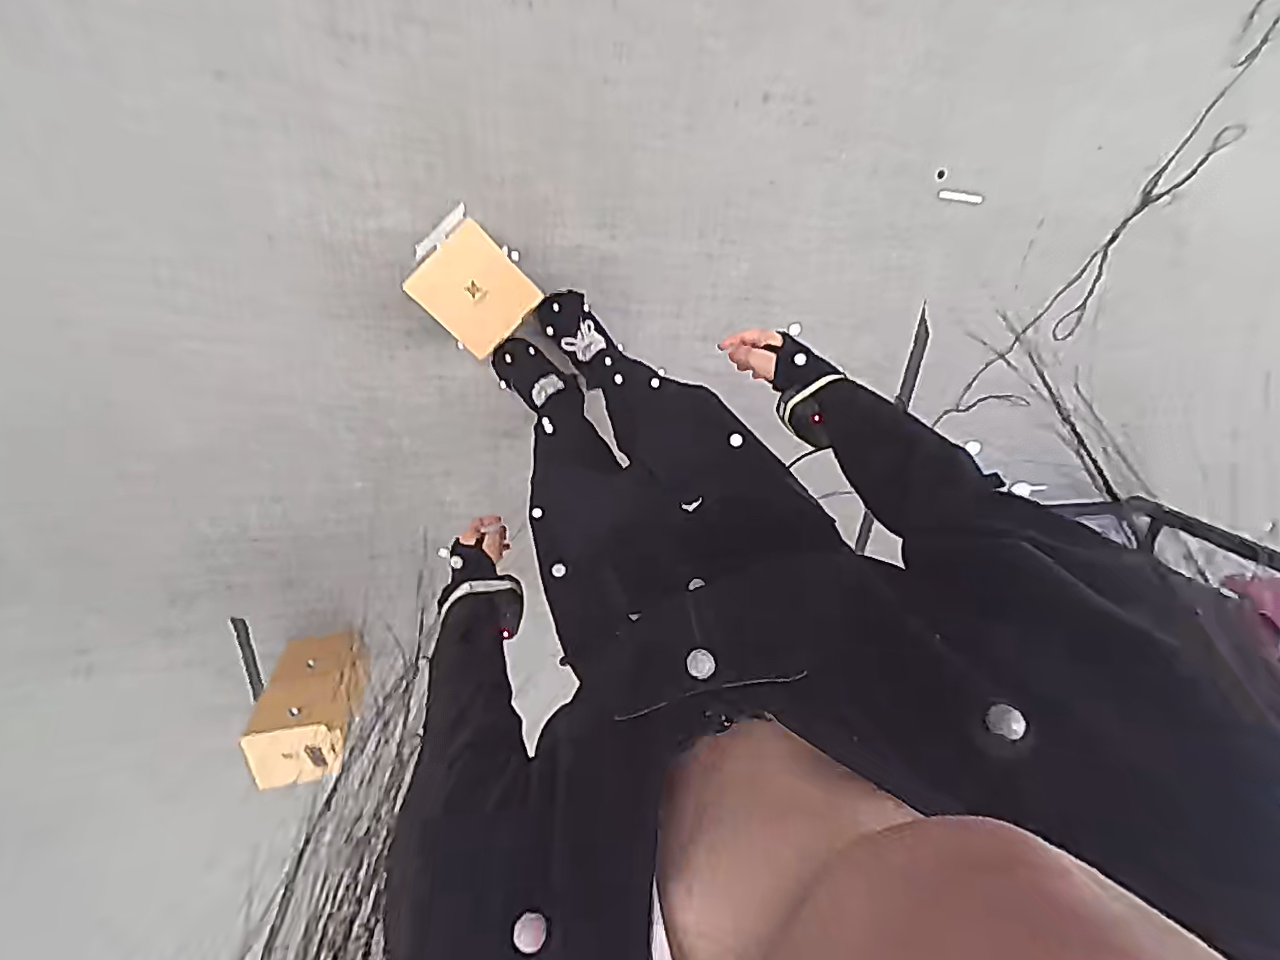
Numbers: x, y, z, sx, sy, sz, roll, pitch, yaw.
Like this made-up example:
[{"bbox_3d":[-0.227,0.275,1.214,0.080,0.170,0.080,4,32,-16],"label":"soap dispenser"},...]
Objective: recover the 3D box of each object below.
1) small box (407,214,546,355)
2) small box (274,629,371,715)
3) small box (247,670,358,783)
[{"bbox_3d":[-0.303,-0.363,1.008,0.168,0.176,0.179,-44,119,5],"label":"small box"},{"bbox_3d":[-0.833,0.520,1.443,0.179,0.176,0.168,-6,114,-12],"label":"small box"},{"bbox_3d":[-0.792,0.580,1.295,0.179,0.176,0.168,-5,114,-13],"label":"small box"}]
